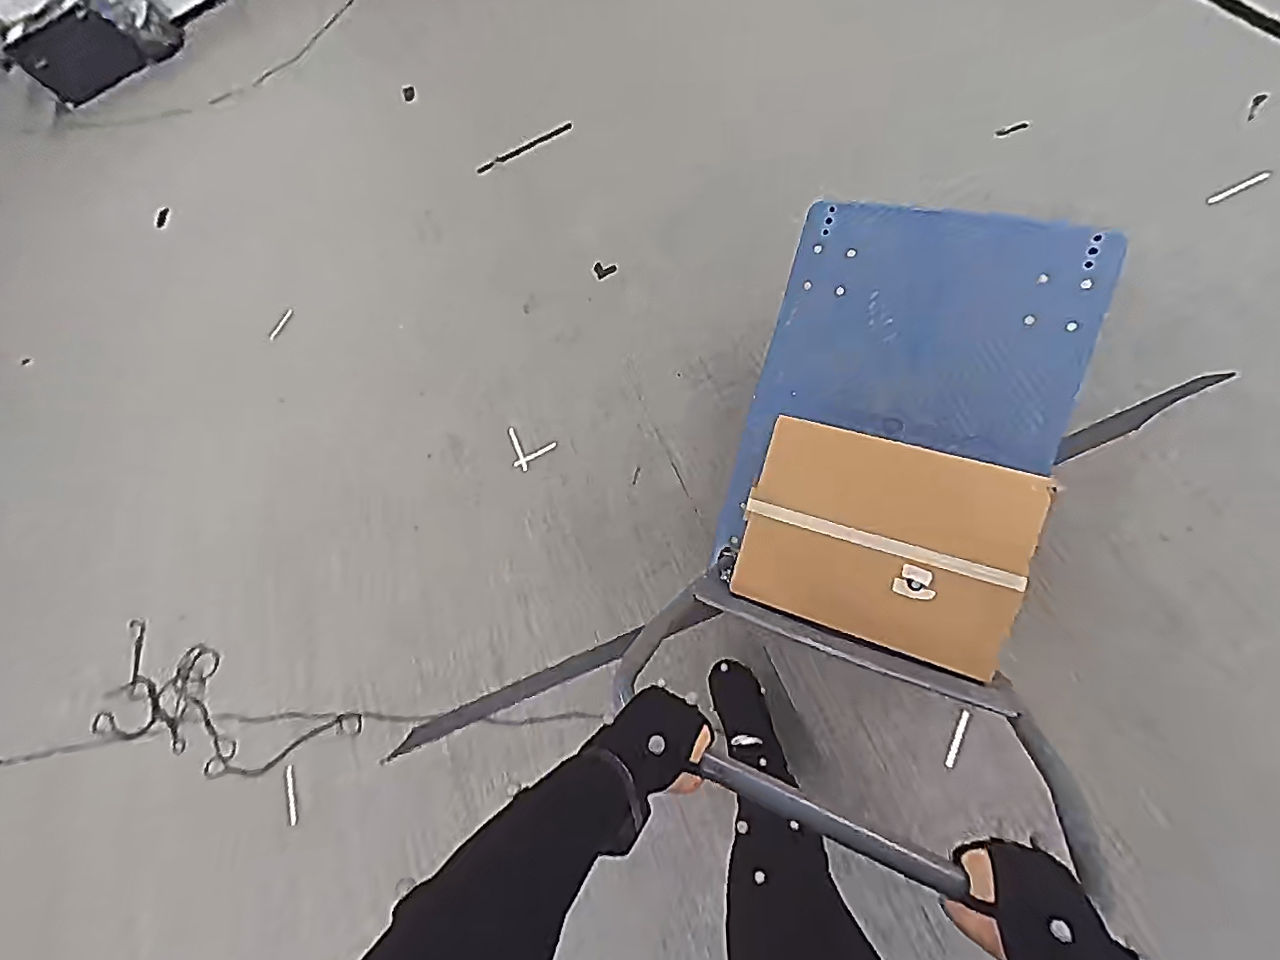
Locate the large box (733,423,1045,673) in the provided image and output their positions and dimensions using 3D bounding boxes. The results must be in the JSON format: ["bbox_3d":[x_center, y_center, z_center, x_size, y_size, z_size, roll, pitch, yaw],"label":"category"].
[{"bbox_3d":[0.423,0.098,1.004,0.408,0.320,0.320,16,96,18],"label":"large box"}]
